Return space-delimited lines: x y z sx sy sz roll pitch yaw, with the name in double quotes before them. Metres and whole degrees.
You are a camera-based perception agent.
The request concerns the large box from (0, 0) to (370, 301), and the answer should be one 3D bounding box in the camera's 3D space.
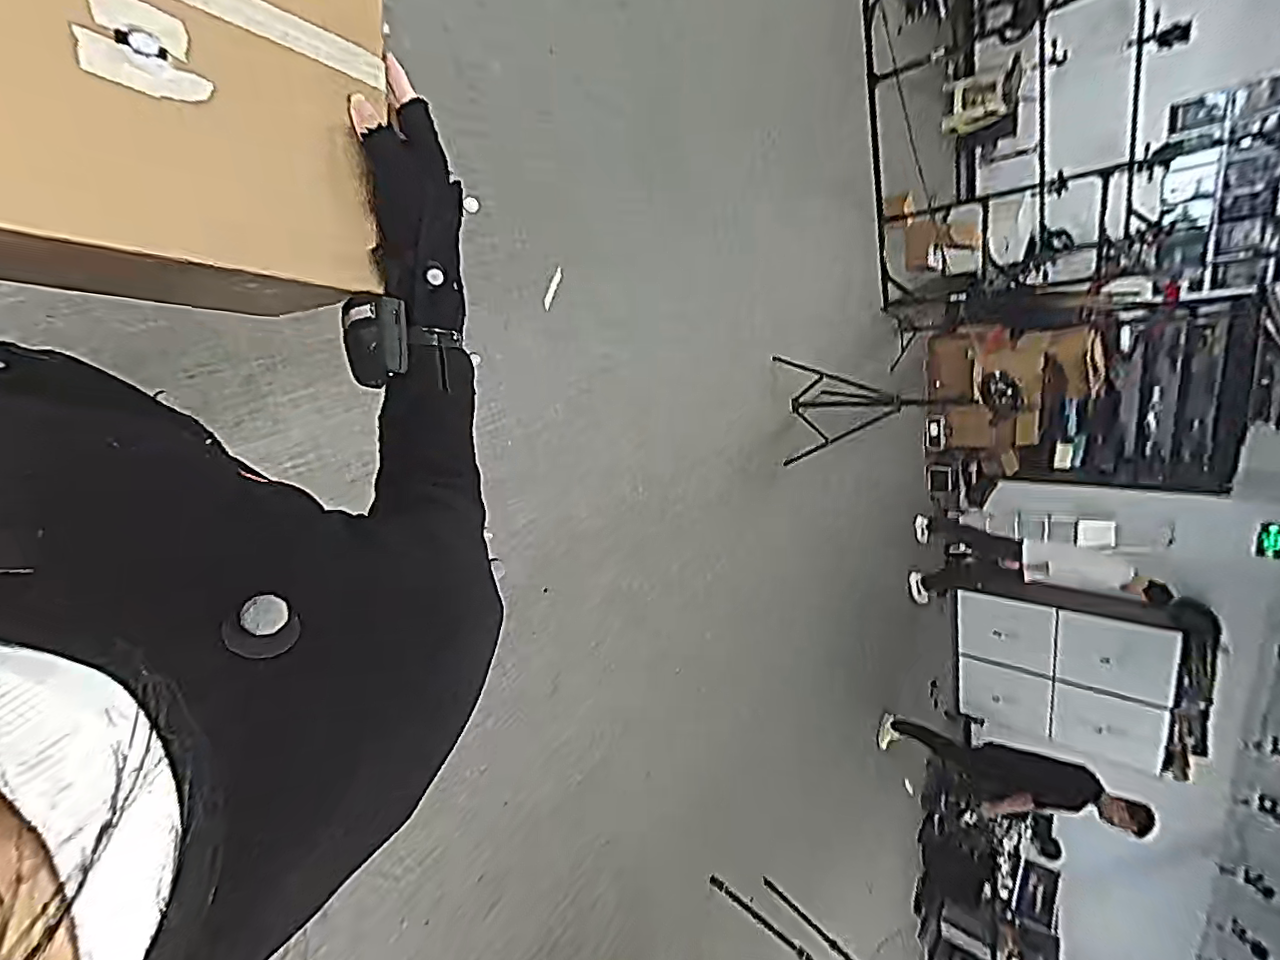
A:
"large box" -0.454 -0.315 0.360 0.408 0.320 0.320 -7 105 -48
